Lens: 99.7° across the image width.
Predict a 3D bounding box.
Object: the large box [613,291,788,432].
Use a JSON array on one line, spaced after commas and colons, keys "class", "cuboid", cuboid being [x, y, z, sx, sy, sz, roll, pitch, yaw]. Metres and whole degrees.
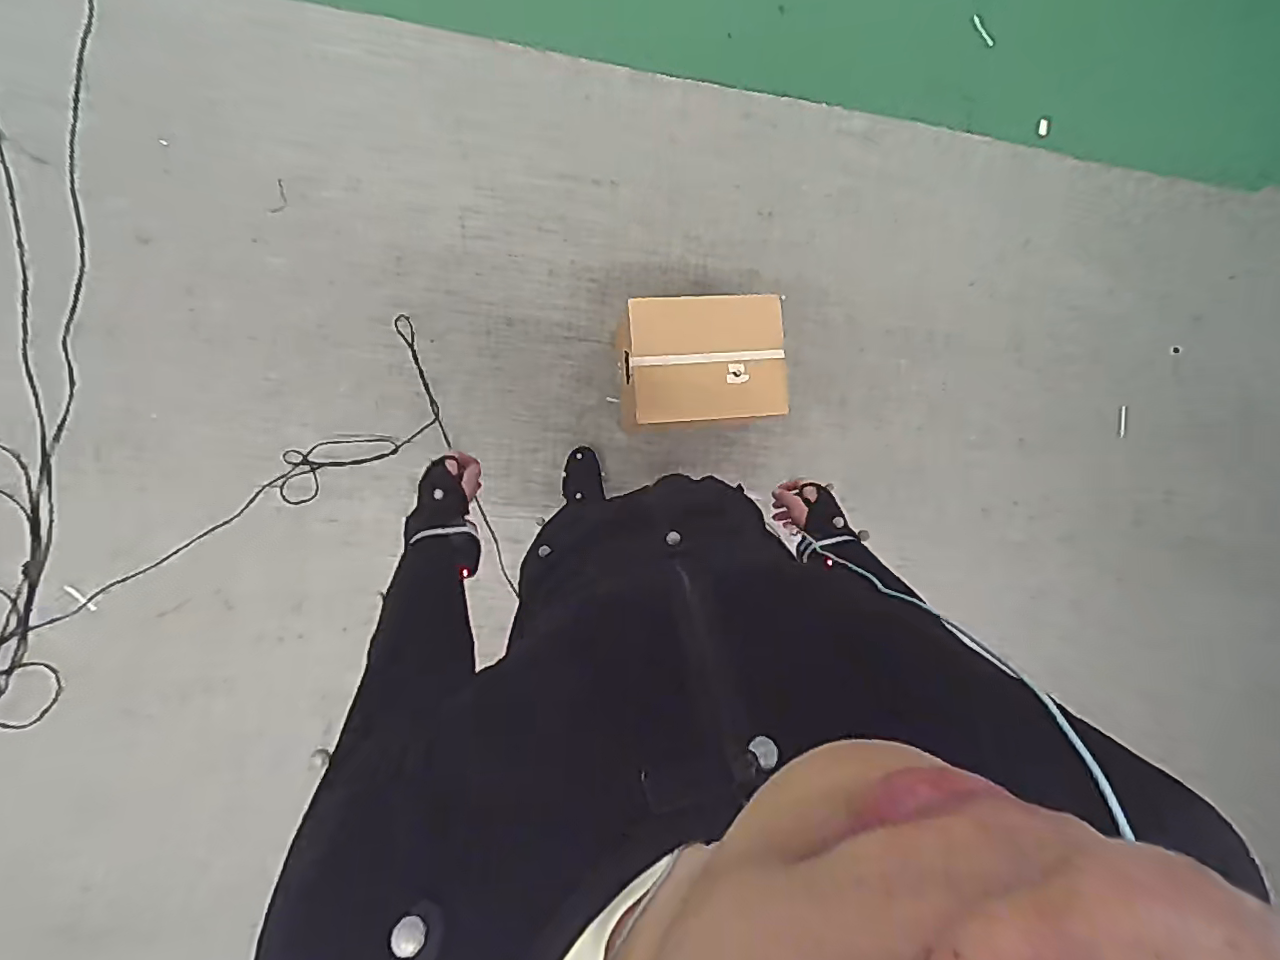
[{"class": "large box", "cuboid": [0.150, -0.315, 1.511, 0.408, 0.320, 0.320, -5, 91, -9]}]
